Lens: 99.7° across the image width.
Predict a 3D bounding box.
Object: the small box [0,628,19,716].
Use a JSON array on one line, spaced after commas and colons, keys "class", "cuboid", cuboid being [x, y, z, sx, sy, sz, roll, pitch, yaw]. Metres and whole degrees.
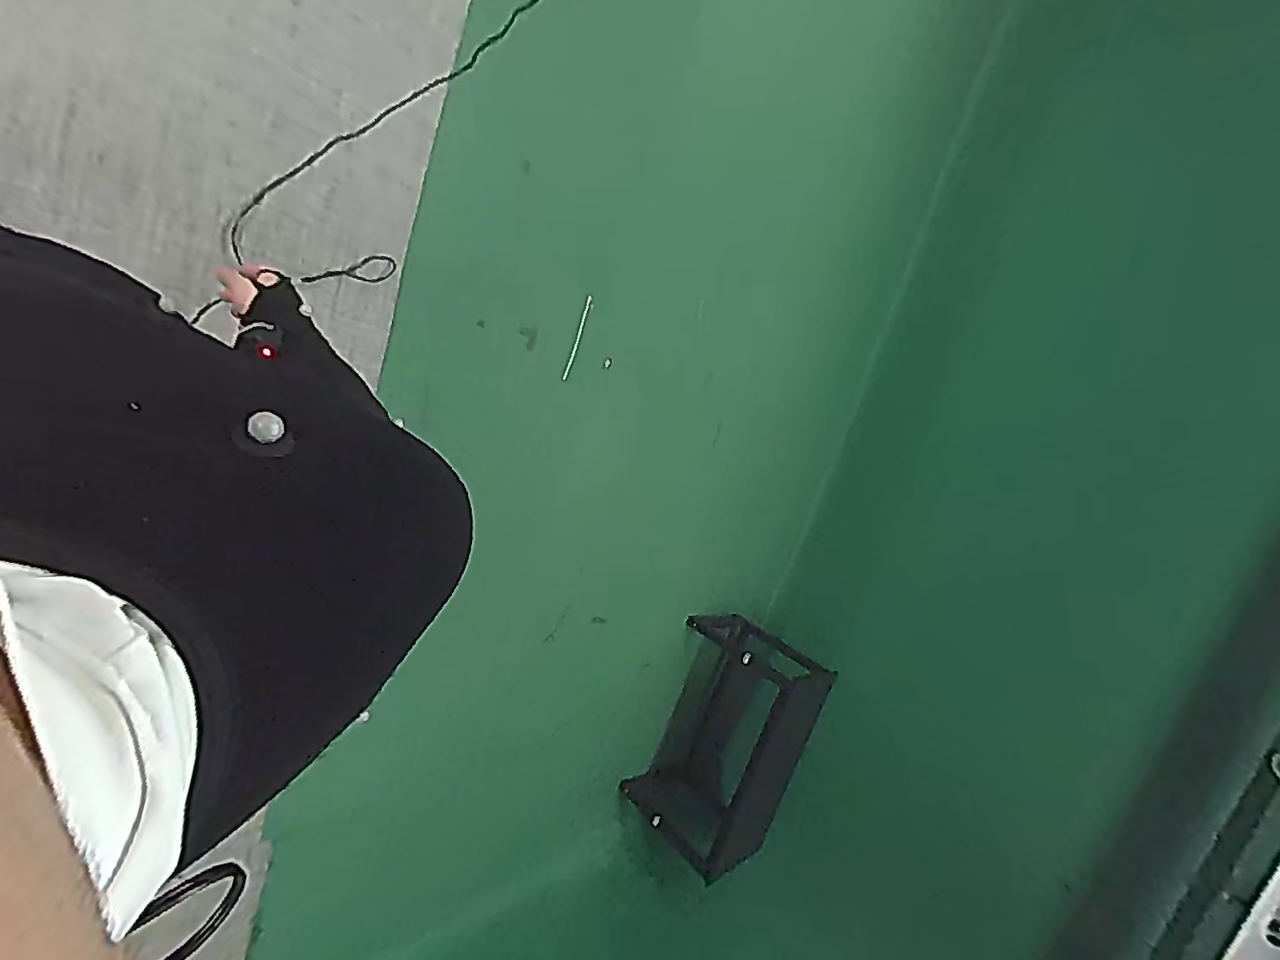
[{"class": "small box", "cuboid": [-1.434, 0.416, 1.114, 0.179, 0.176, 0.168, 16, 98, -48]}]
